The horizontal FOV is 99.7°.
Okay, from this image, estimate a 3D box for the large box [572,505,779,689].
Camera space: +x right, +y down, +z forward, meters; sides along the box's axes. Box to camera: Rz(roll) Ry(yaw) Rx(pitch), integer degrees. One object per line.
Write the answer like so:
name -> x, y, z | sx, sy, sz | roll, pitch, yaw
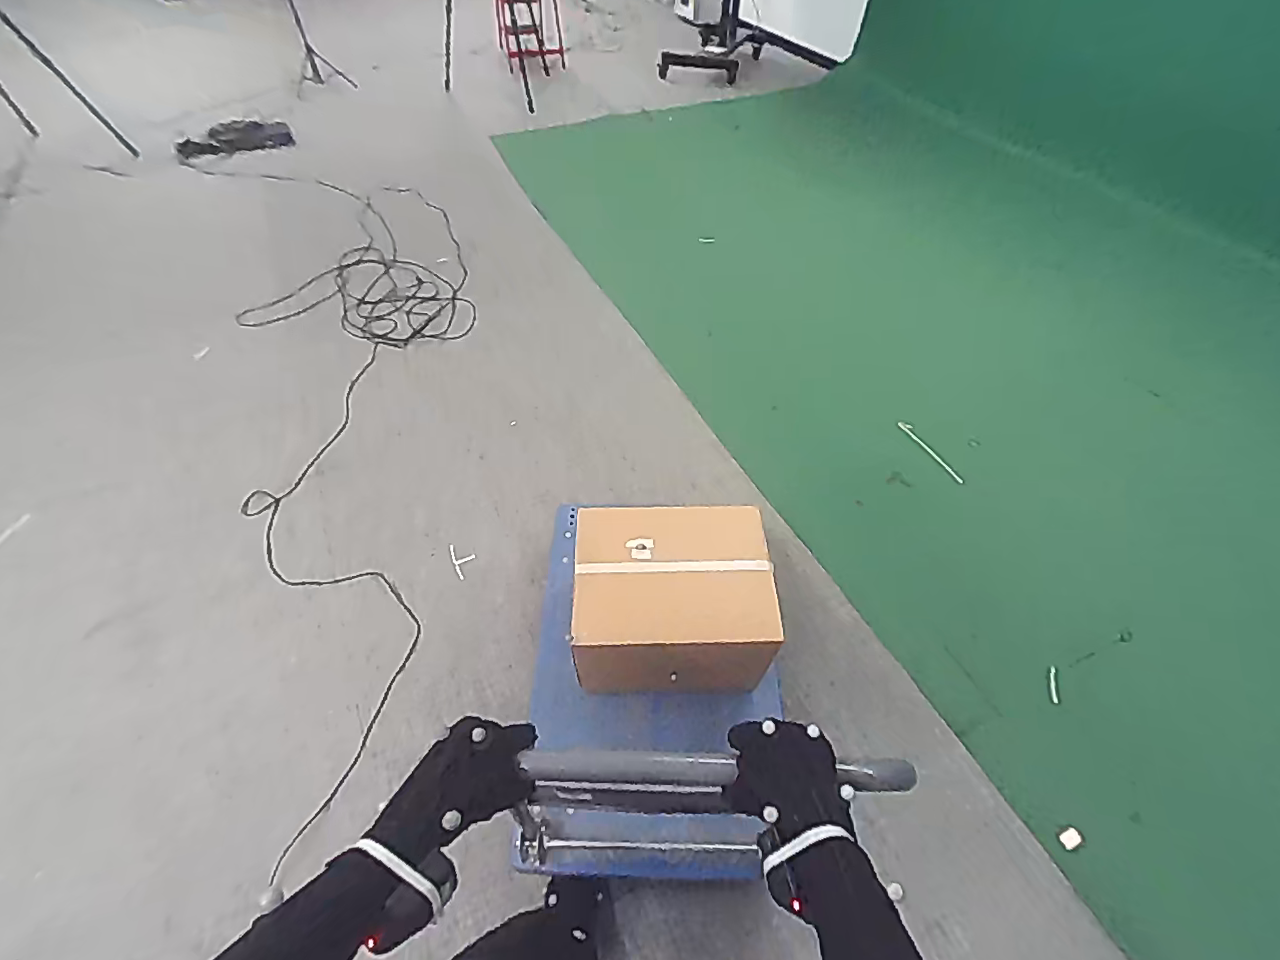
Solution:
large box -> 0.063, 0.273, 1.230 | 0.408, 0.320, 0.320 | -1, 52, -2
